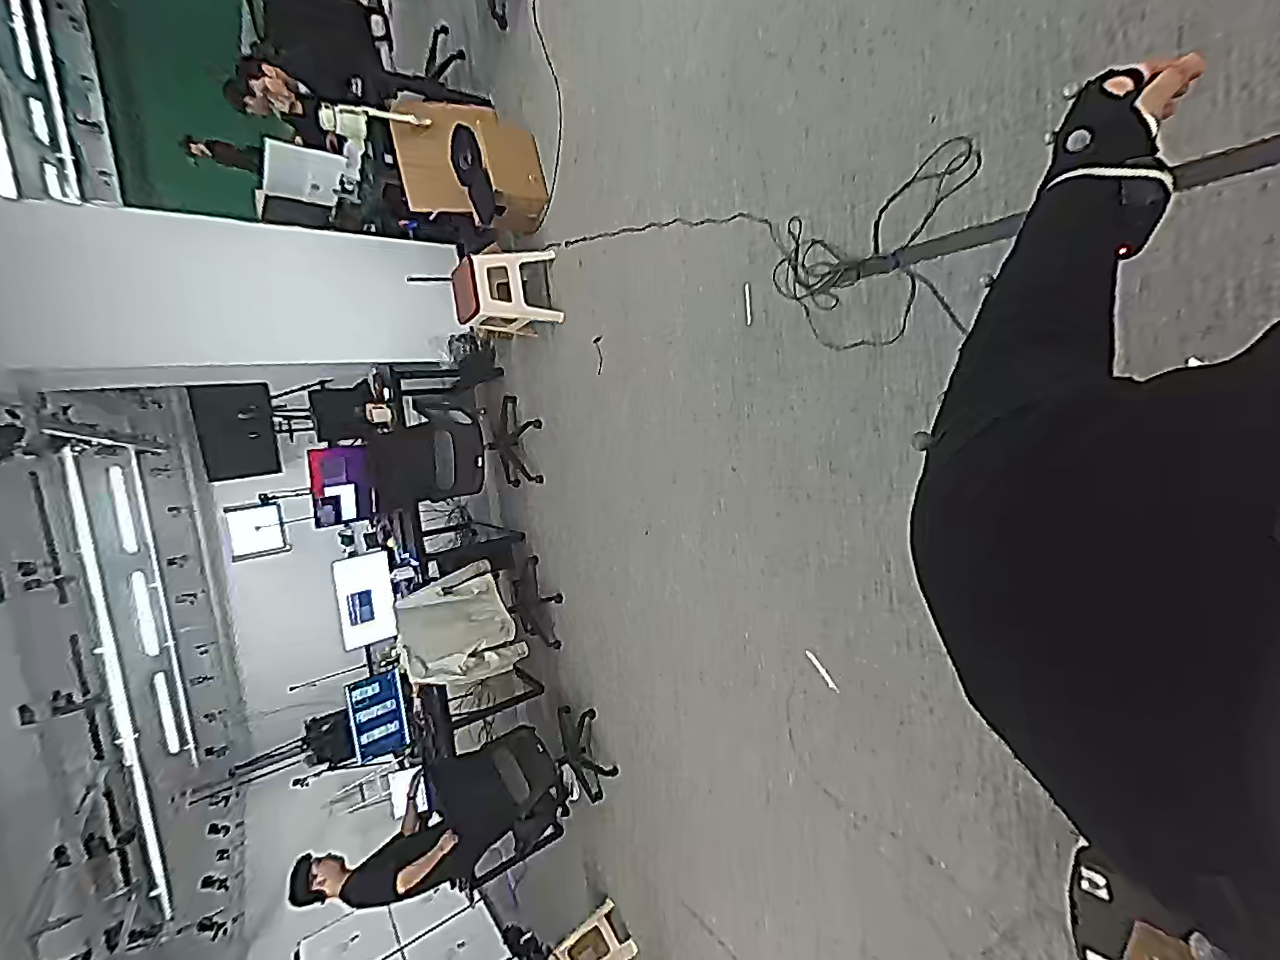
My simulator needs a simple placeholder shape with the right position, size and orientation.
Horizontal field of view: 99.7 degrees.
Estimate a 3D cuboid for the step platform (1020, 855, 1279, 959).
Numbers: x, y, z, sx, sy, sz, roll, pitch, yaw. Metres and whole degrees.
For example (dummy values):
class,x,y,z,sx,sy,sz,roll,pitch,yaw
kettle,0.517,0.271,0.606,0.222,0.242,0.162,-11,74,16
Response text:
class,x,y,z,sx,sy,sz,roll,pitch,yaw
step platform,1.054,0.950,0.883,0.684,0.204,0.286,0,100,55
